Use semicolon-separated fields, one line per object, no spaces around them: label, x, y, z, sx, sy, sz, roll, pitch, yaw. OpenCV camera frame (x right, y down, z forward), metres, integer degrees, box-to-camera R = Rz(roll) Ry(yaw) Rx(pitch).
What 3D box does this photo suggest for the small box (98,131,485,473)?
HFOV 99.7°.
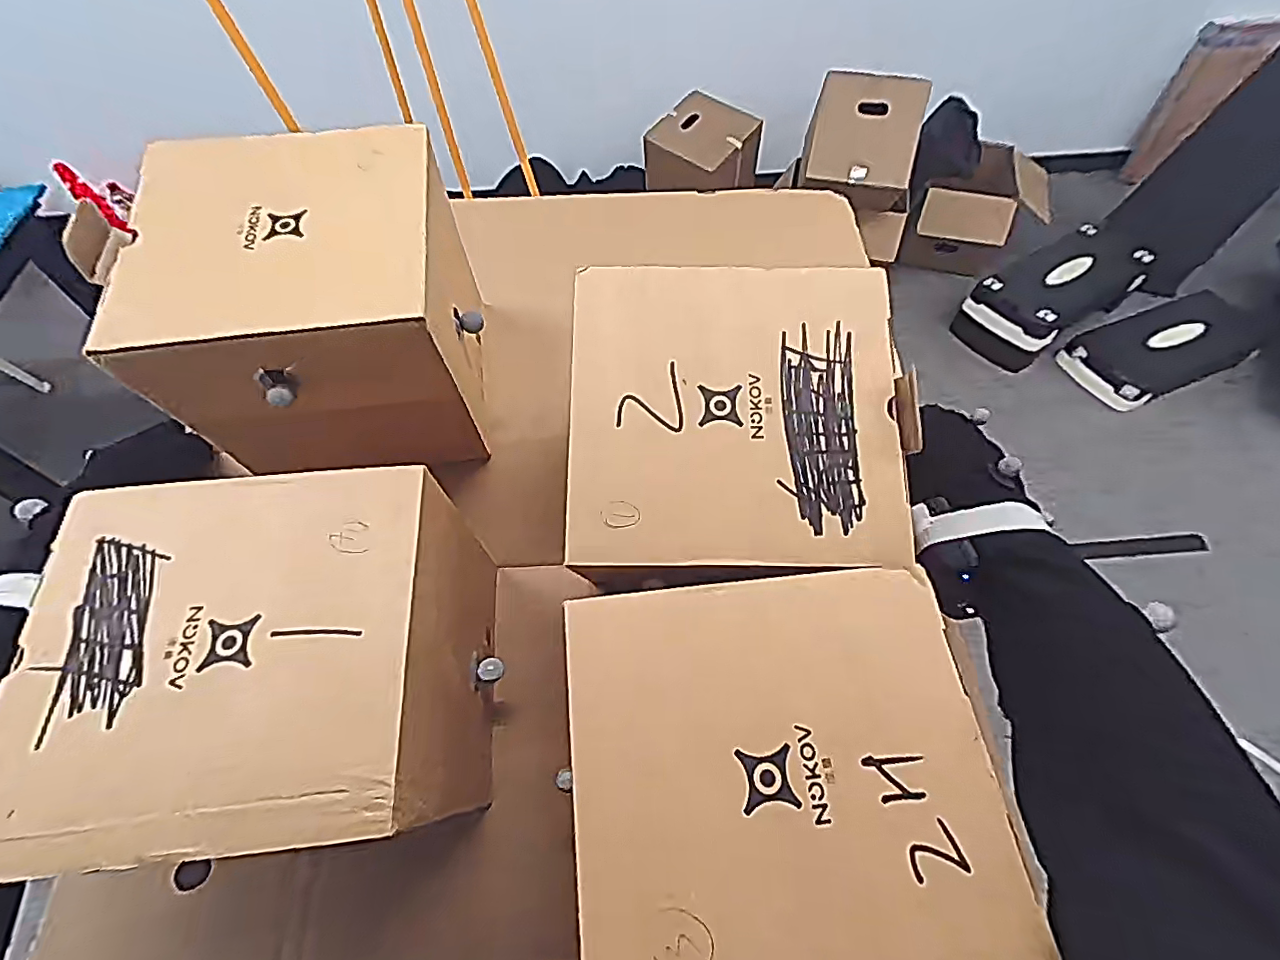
small box;-0.218;-0.119;0.400;0.179;0.176;0.168;-8;66;-4
